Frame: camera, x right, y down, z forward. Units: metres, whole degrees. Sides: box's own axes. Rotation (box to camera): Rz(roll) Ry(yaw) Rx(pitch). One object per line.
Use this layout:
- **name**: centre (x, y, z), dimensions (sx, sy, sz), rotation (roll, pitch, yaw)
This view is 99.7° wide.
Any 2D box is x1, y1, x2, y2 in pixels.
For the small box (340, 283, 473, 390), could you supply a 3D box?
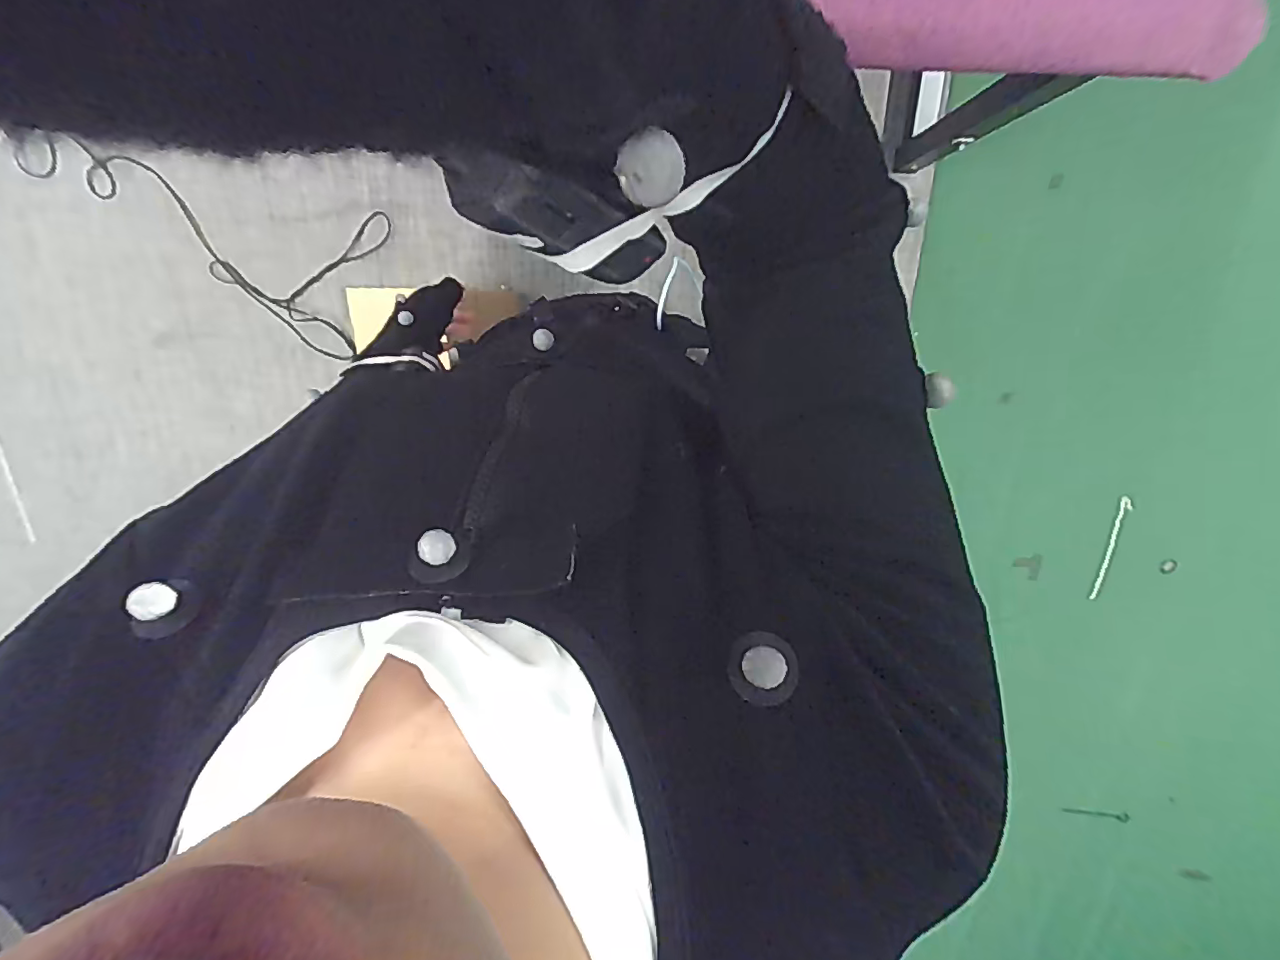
- **small box**: centre (-0.422, -0.271, 1.006), dimensions (0.168, 0.176, 0.179), rotation (1, 111, 1)

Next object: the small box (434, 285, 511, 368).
- **small box**: centre (-0.416, -0.376, 1.317), dimensions (0.168, 0.176, 0.179), rotation (4, 109, 0)
